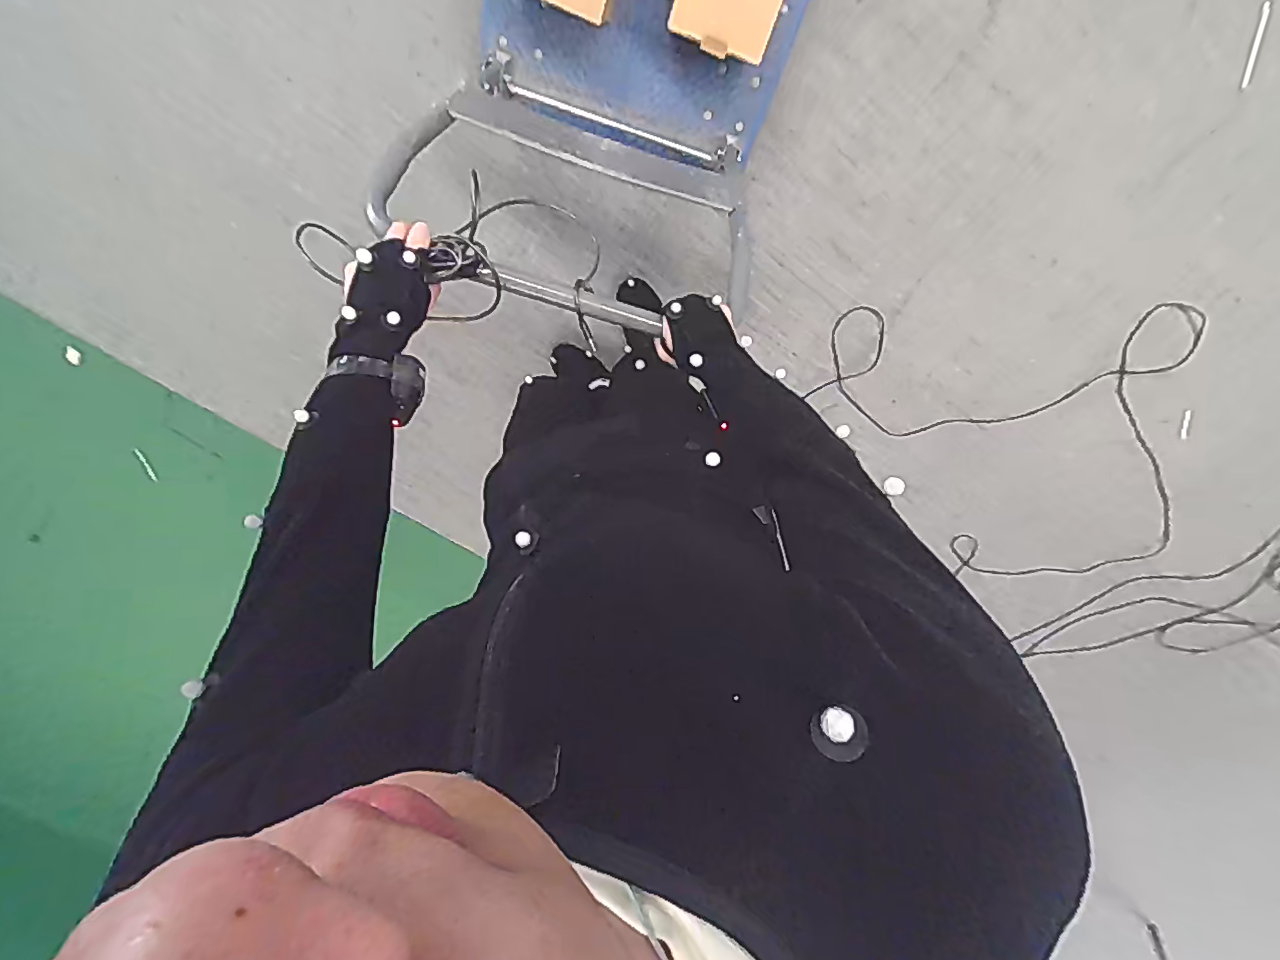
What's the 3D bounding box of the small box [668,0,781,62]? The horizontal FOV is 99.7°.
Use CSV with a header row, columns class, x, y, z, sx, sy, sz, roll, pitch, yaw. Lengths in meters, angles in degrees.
class,x,y,z,sx,sy,sz,roll,pitch,yaw
small box,0.151,-0.835,0.892,0.168,0.176,0.179,15,134,-8
